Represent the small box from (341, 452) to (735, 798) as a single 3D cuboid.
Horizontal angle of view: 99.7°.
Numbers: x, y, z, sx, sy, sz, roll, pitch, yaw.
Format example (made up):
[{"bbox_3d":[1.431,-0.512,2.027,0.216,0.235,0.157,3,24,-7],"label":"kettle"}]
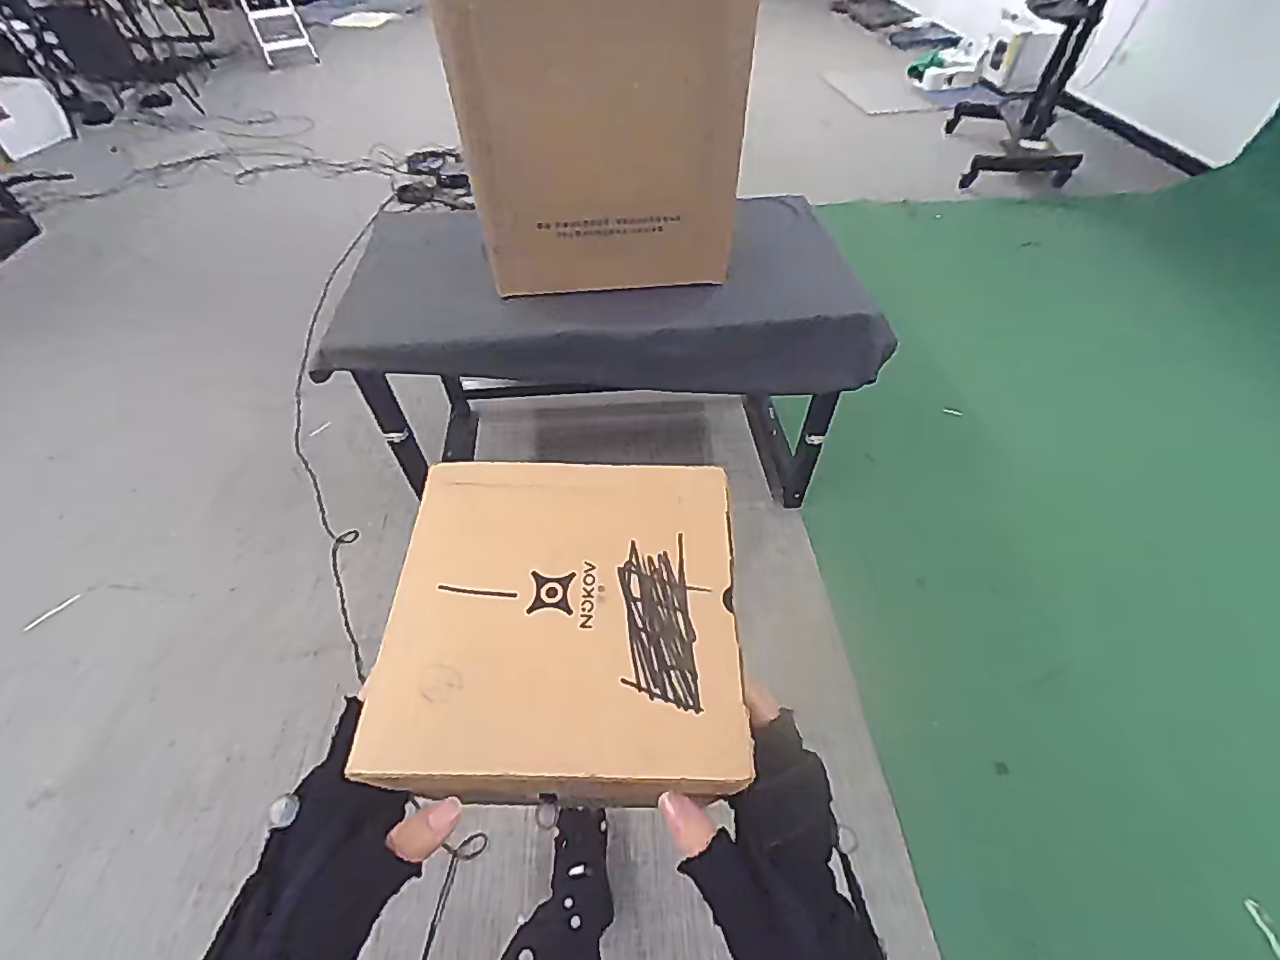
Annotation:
[{"bbox_3d":[-0.044,0.101,0.346,0.179,0.176,0.168,3,55,0],"label":"small box"}]
